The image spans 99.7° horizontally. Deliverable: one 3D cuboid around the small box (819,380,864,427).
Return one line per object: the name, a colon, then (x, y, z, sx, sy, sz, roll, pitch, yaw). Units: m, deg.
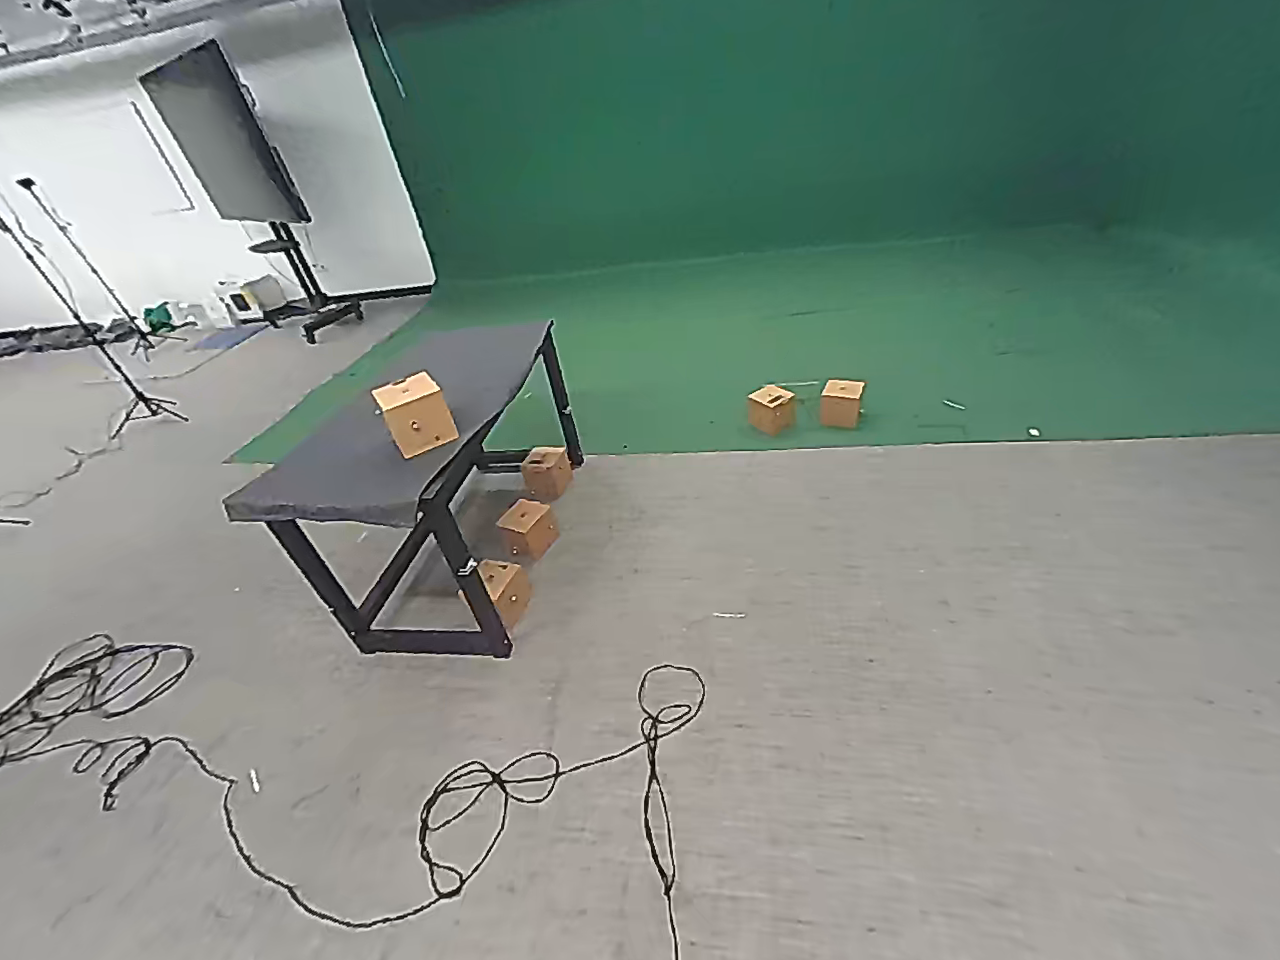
small box: (1.001, -0.378, 2.689, 0.179, 0.176, 0.168, 12, 42, 26)

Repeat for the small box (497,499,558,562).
small box: (-0.460, 0.210, 2.258, 0.168, 0.176, 0.179, 12, 43, 27)

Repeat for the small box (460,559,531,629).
small box: (-0.523, 0.423, 1.992, 0.168, 0.176, 0.179, 7, 41, 21)

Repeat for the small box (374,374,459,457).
small box: (-0.664, -0.190, 1.617, 0.168, 0.176, 0.179, -28, 40, -22)

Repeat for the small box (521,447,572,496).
small box: (-0.439, -0.039, 2.580, 0.168, 0.176, 0.179, 2, 38, 15)
